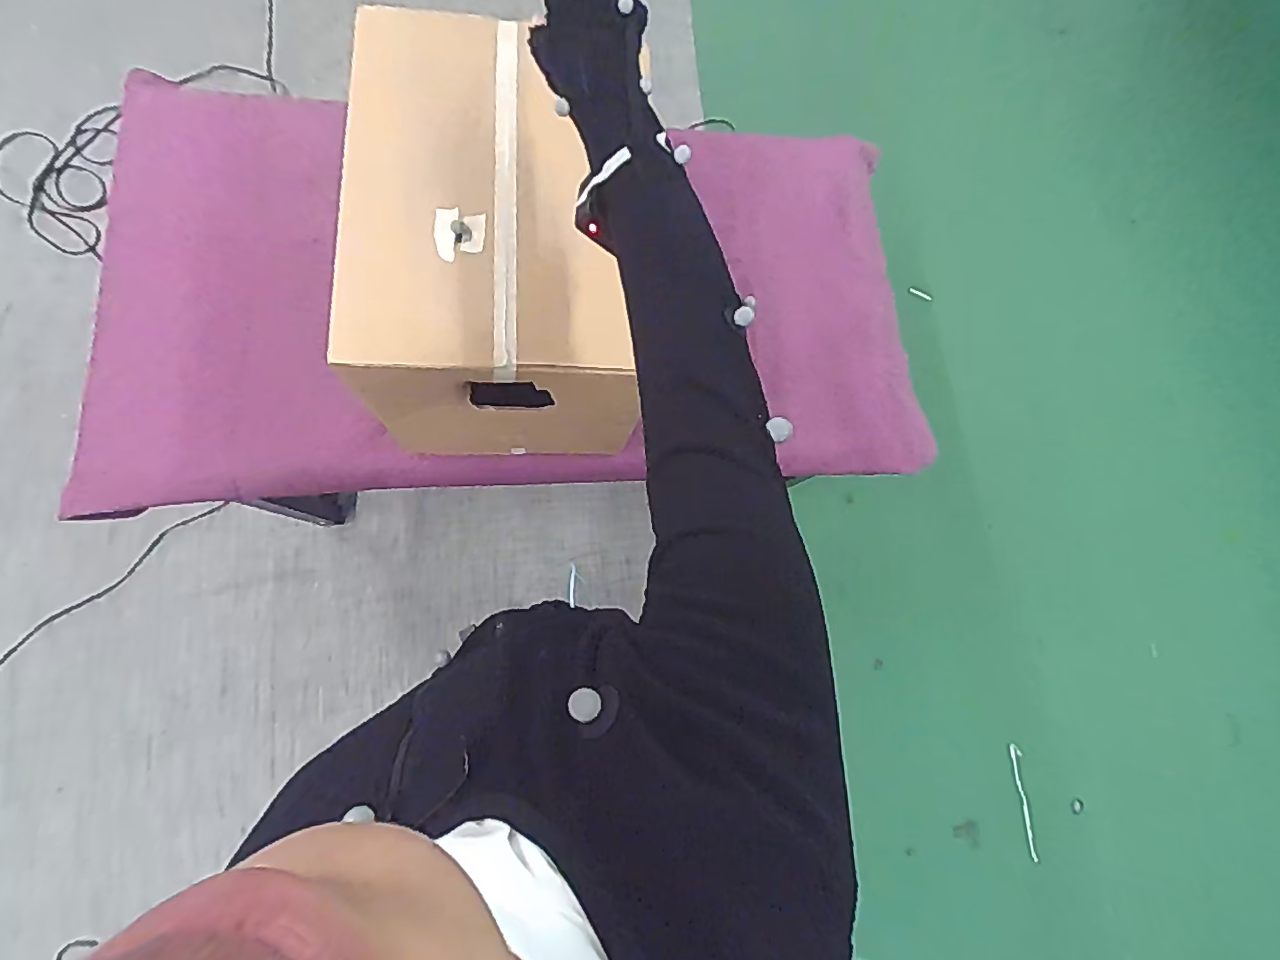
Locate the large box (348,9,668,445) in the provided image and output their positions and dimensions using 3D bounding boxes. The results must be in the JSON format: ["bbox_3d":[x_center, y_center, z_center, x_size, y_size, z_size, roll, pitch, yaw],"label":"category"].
[{"bbox_3d":[-0.158,-0.278,0.707,0.320,0.320,0.408,0,79,-10],"label":"large box"}]
